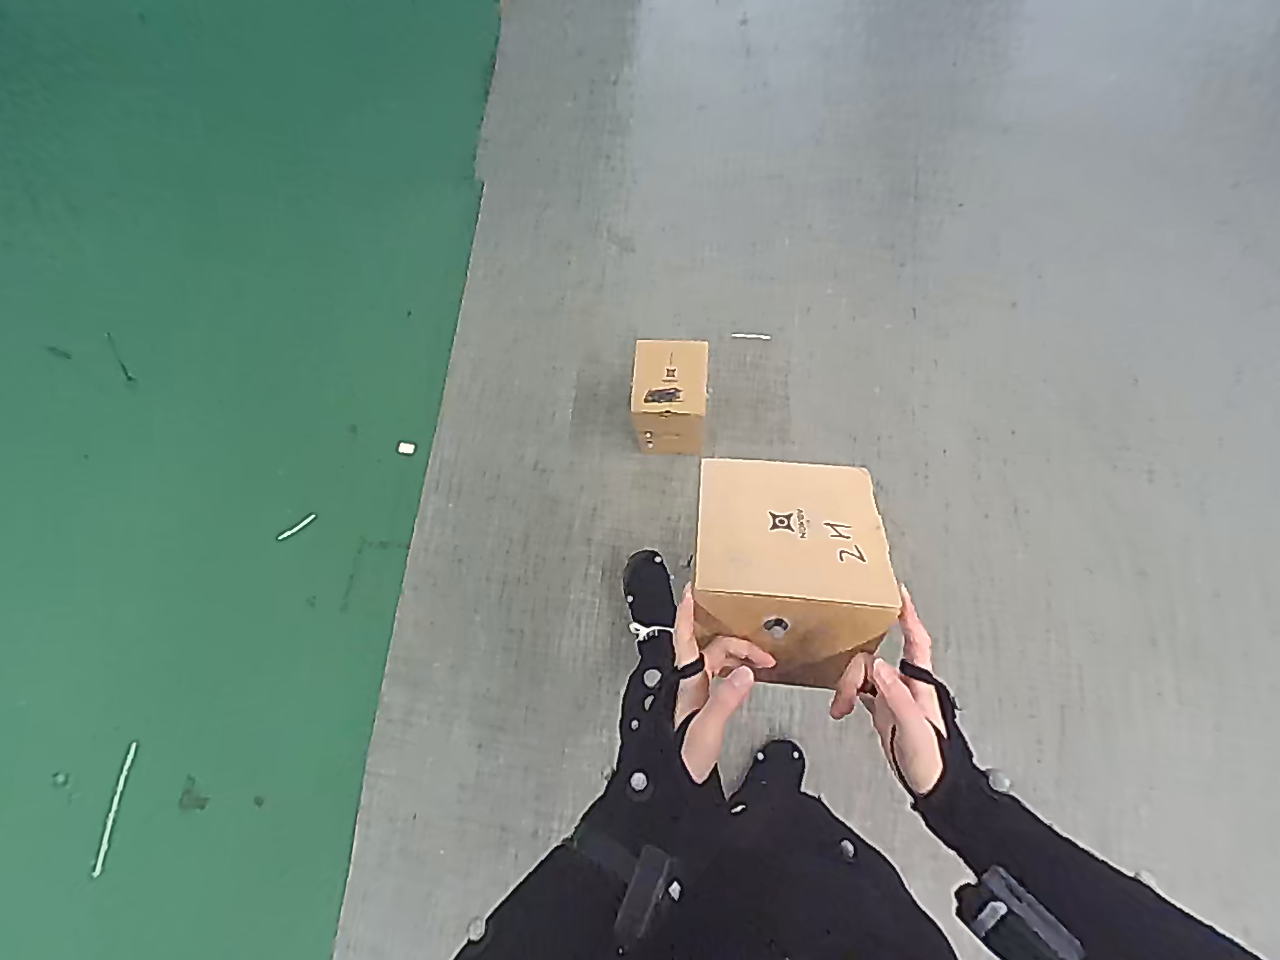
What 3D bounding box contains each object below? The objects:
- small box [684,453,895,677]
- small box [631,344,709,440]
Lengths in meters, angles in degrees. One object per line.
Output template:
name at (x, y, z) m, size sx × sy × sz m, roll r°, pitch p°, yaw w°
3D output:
small box at (0.140, 0.092, 0.573) m, size 0.179 × 0.176 × 0.168 m, roll 5°, pitch 46°, yaw 5°
small box at (0.074, -0.202, 1.280) m, size 0.168 × 0.176 × 0.179 m, roll 3°, pitch 76°, yaw 5°
